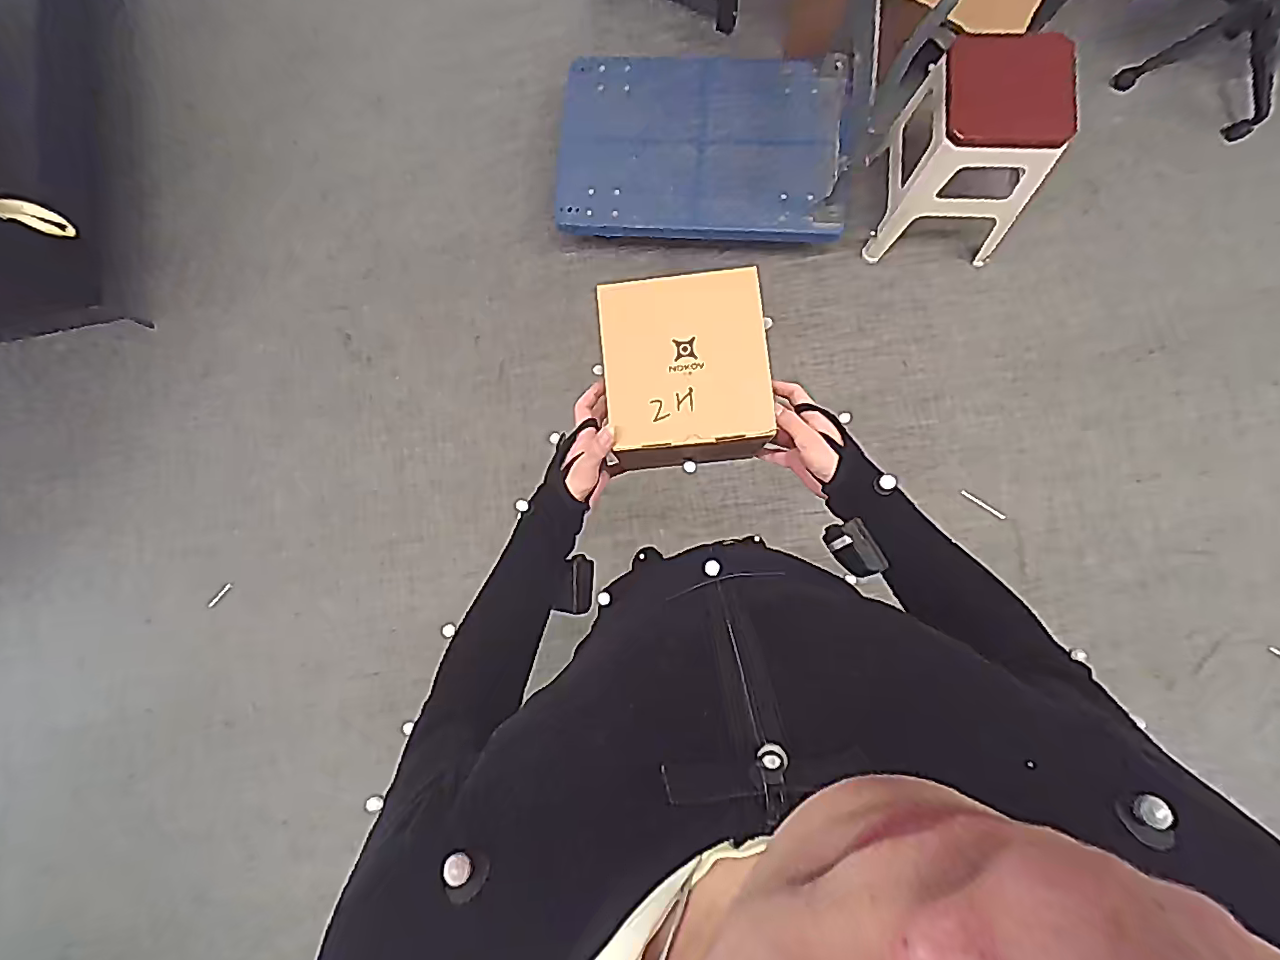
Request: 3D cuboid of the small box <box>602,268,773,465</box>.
[{"bbox_3d":[0.050,-0.119,0.629,0.168,0.176,0.179,-5,85,3],"label":"small box"}]
